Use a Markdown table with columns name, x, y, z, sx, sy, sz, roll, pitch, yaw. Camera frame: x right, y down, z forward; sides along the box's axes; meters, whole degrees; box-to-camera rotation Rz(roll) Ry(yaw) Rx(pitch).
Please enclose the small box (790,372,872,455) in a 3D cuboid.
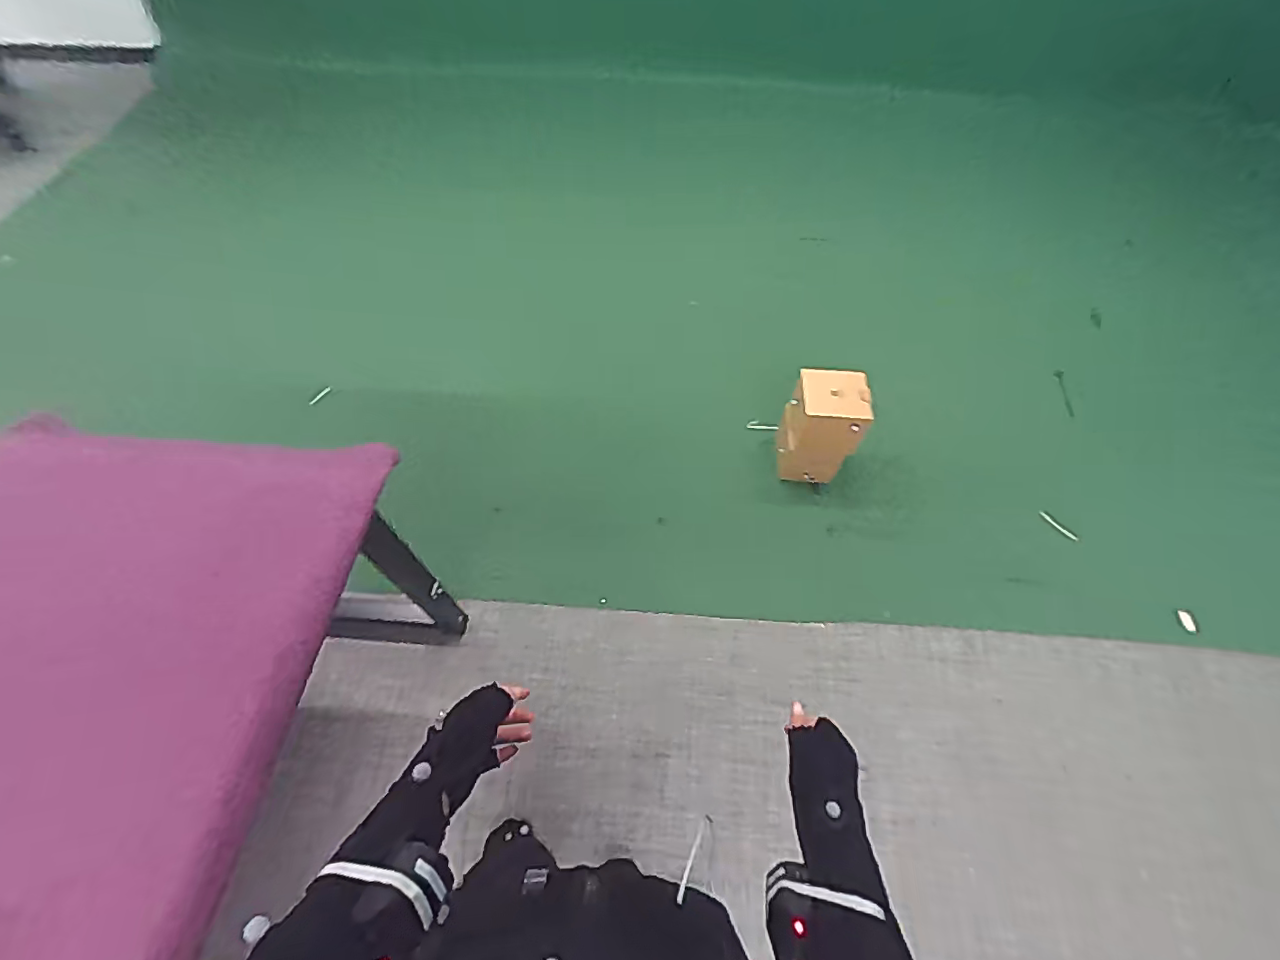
| name | x | y | z | sx | sy | sz | roll | pitch | yaw |
| --- | --- | --- | --- | --- | --- | --- | --- | --- | --- |
| small box | 0.529 | -0.185 | 1.526 | 0.179 | 0.176 | 0.168 | 4 | 58 | 1 |
